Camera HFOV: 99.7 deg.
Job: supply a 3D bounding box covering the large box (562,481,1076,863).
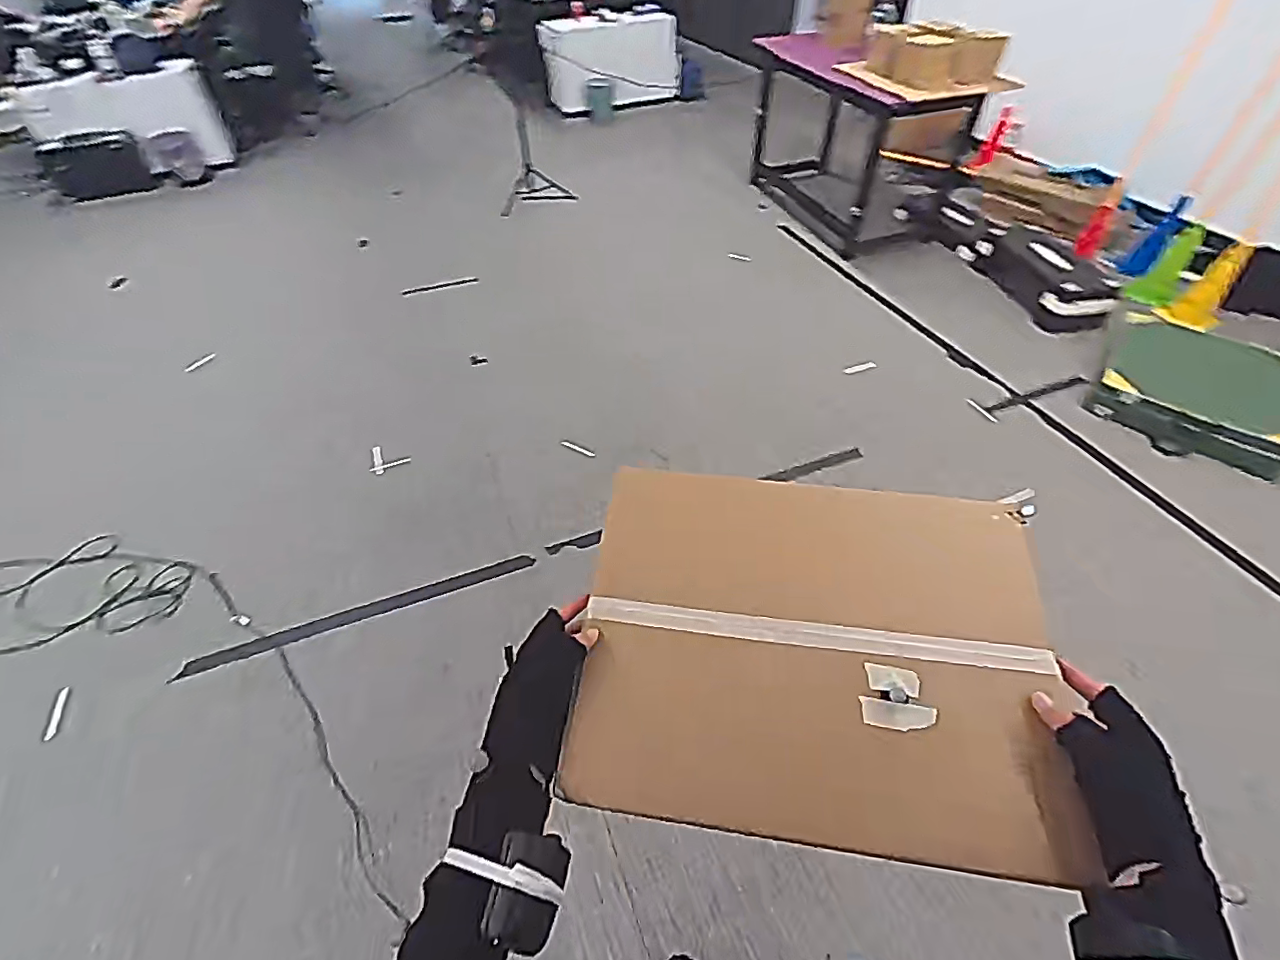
[{"bbox_3d":[0.153,0.221,0.624,0.408,0.320,0.320,5,60,6],"label":"large box"}]
